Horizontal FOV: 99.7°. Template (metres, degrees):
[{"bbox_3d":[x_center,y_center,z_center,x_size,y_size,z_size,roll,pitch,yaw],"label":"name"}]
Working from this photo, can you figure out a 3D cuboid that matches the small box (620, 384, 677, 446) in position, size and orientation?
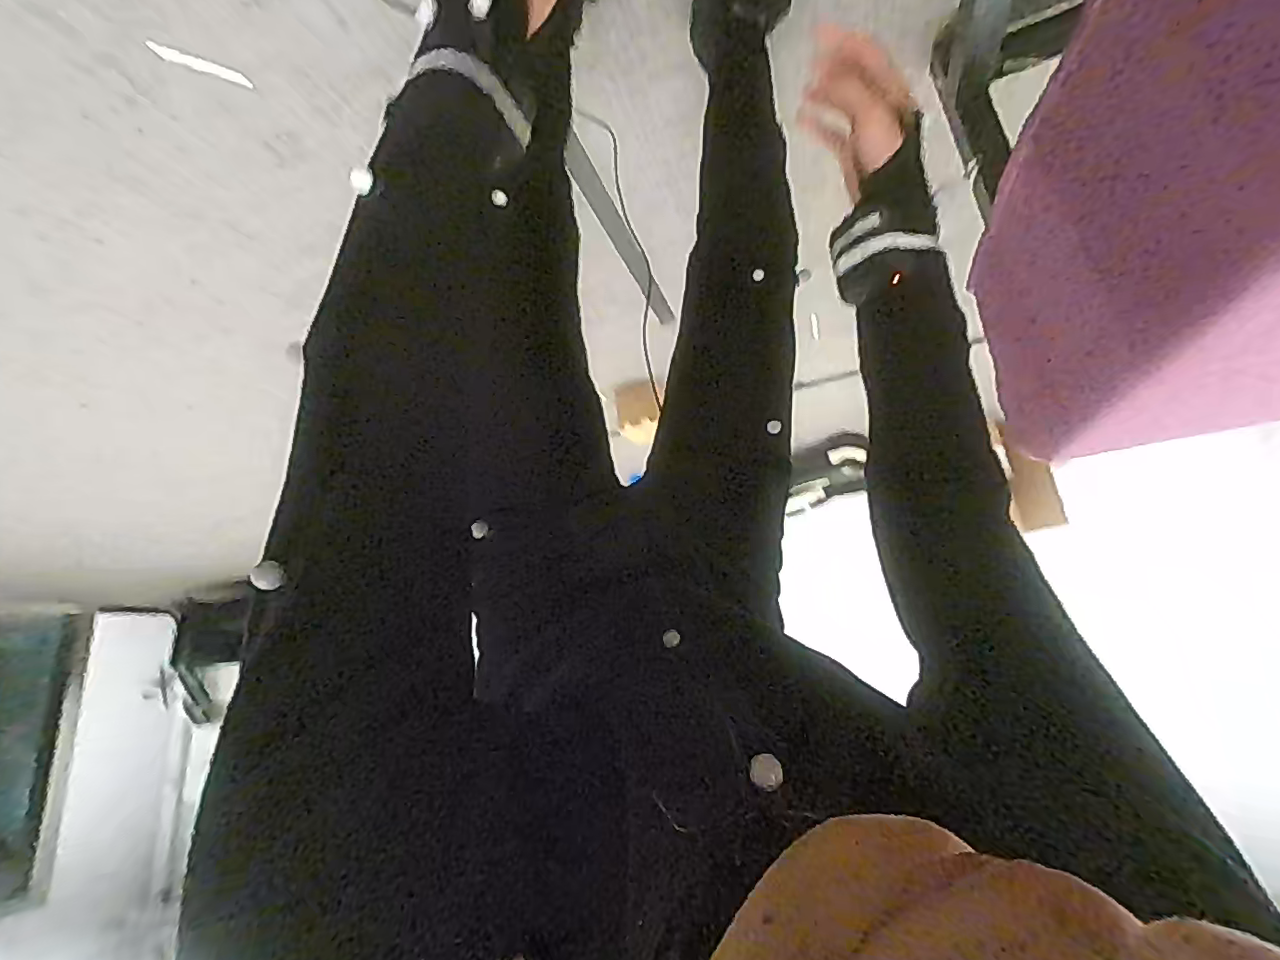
[{"bbox_3d":[0.033,-0.248,2.074,0.168,0.176,0.179,-13,161,22],"label":"small box"}]
